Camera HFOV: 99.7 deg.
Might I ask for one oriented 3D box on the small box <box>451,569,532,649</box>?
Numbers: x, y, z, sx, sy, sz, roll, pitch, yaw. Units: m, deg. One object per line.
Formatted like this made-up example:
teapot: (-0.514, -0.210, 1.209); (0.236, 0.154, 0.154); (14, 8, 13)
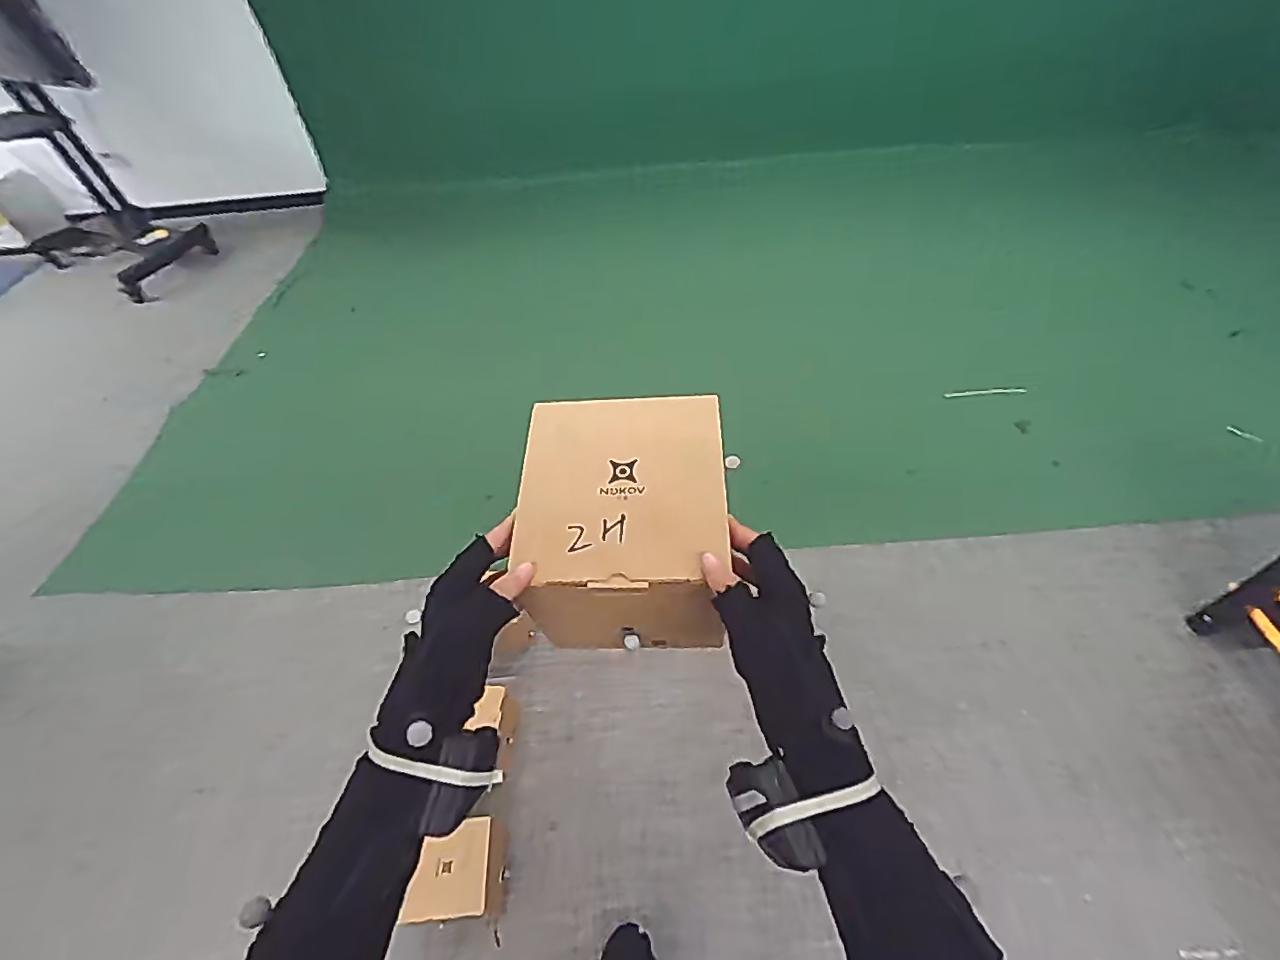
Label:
small box: (-0.414, 0.372, 1.547); (0.179, 0.176, 0.168); (-4, 49, 2)

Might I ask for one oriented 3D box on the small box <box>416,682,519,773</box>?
small box: (-0.418, 0.614, 1.340); (0.179, 0.176, 0.168); (1, 49, 4)

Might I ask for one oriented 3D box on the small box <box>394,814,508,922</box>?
small box: (-0.392, 0.829, 1.153); (0.179, 0.176, 0.168); (-6, 51, -2)
